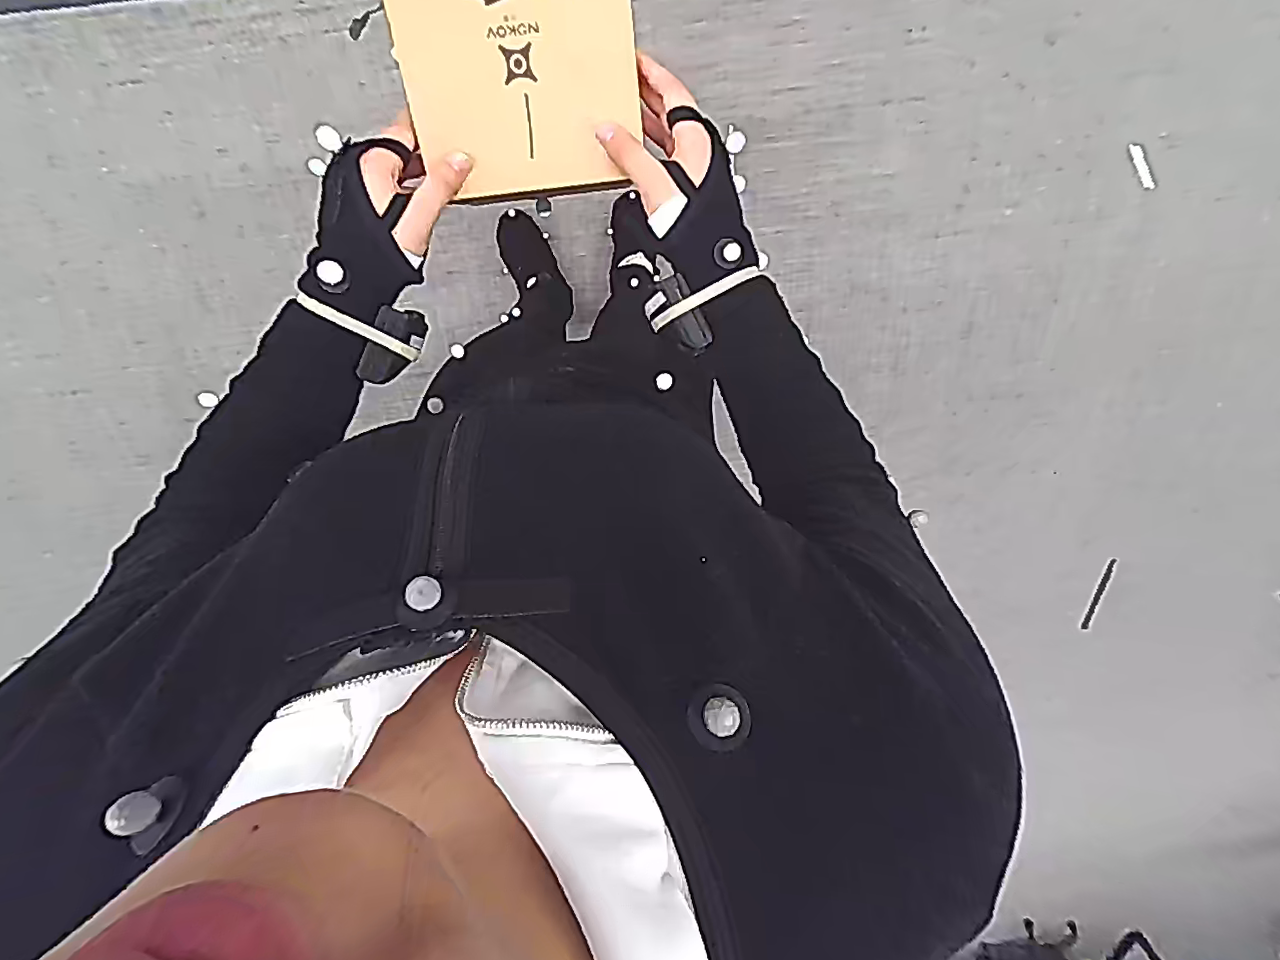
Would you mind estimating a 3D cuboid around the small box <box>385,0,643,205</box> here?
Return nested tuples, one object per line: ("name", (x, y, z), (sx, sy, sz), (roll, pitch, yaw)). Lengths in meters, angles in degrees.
("small box", (-0.094, -0.336, 0.447), (0.168, 0.176, 0.179), (-8, 116, -2))
